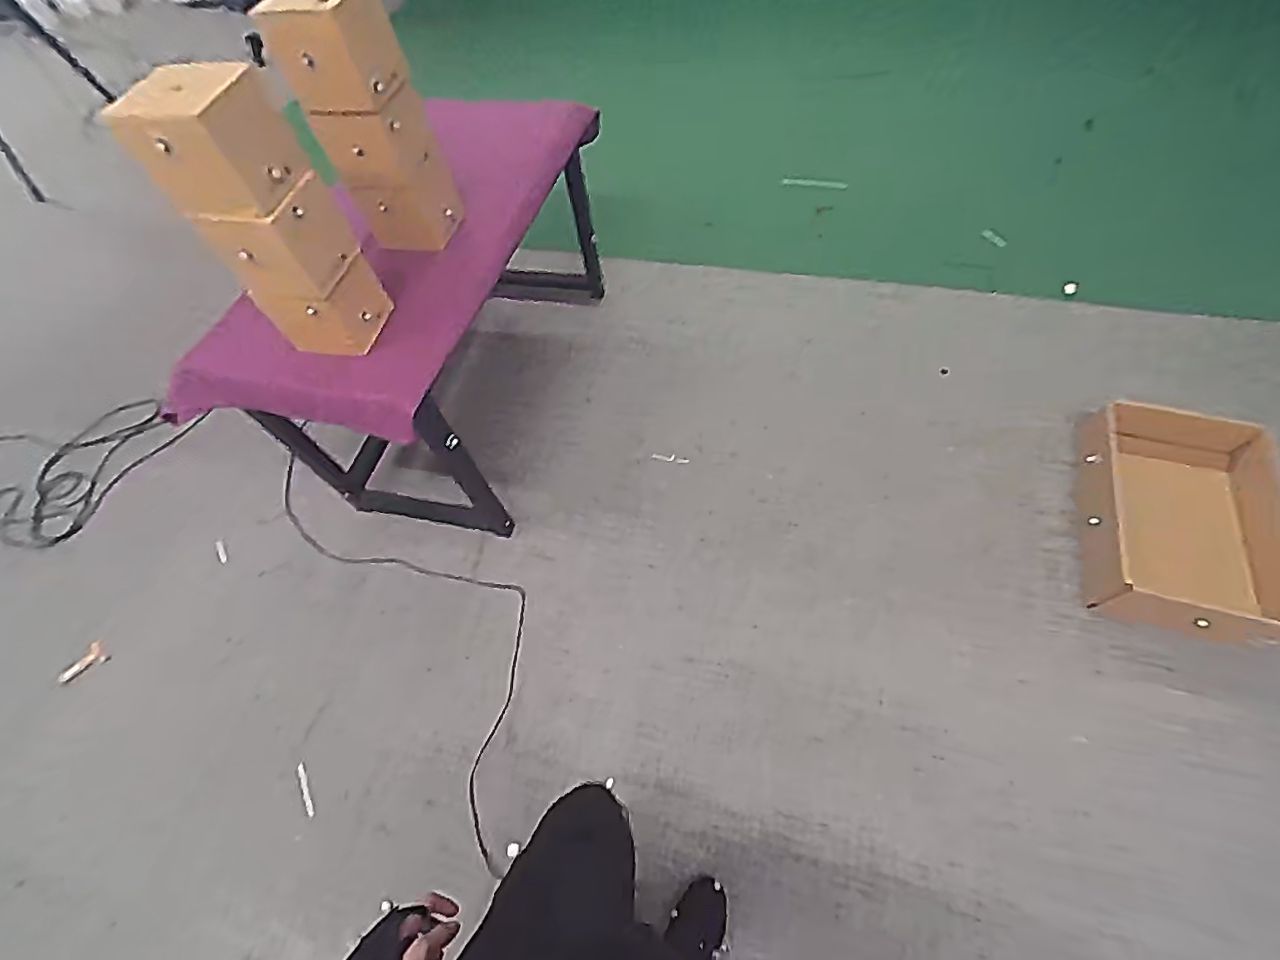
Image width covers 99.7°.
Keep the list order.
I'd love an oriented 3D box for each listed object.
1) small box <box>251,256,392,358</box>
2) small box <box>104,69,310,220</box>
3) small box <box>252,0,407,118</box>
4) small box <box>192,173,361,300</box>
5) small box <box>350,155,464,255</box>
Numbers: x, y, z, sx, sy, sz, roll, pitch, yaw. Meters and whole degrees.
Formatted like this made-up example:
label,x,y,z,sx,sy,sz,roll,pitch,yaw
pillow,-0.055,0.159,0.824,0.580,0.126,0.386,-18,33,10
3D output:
label,x,y,z,sx,sy,sz,roll,pitch,yaw
small box,-0.692,-0.390,1.198,0.179,0.176,0.168,6,59,9
small box,-0.719,-0.565,0.923,0.179,0.176,0.168,6,60,9
small box,-0.605,-0.854,1.082,0.179,0.176,0.168,7,60,12
small box,-0.695,-0.472,1.056,0.179,0.176,0.168,7,60,11
small box,-0.579,-0.692,1.367,0.179,0.176,0.168,8,61,11
